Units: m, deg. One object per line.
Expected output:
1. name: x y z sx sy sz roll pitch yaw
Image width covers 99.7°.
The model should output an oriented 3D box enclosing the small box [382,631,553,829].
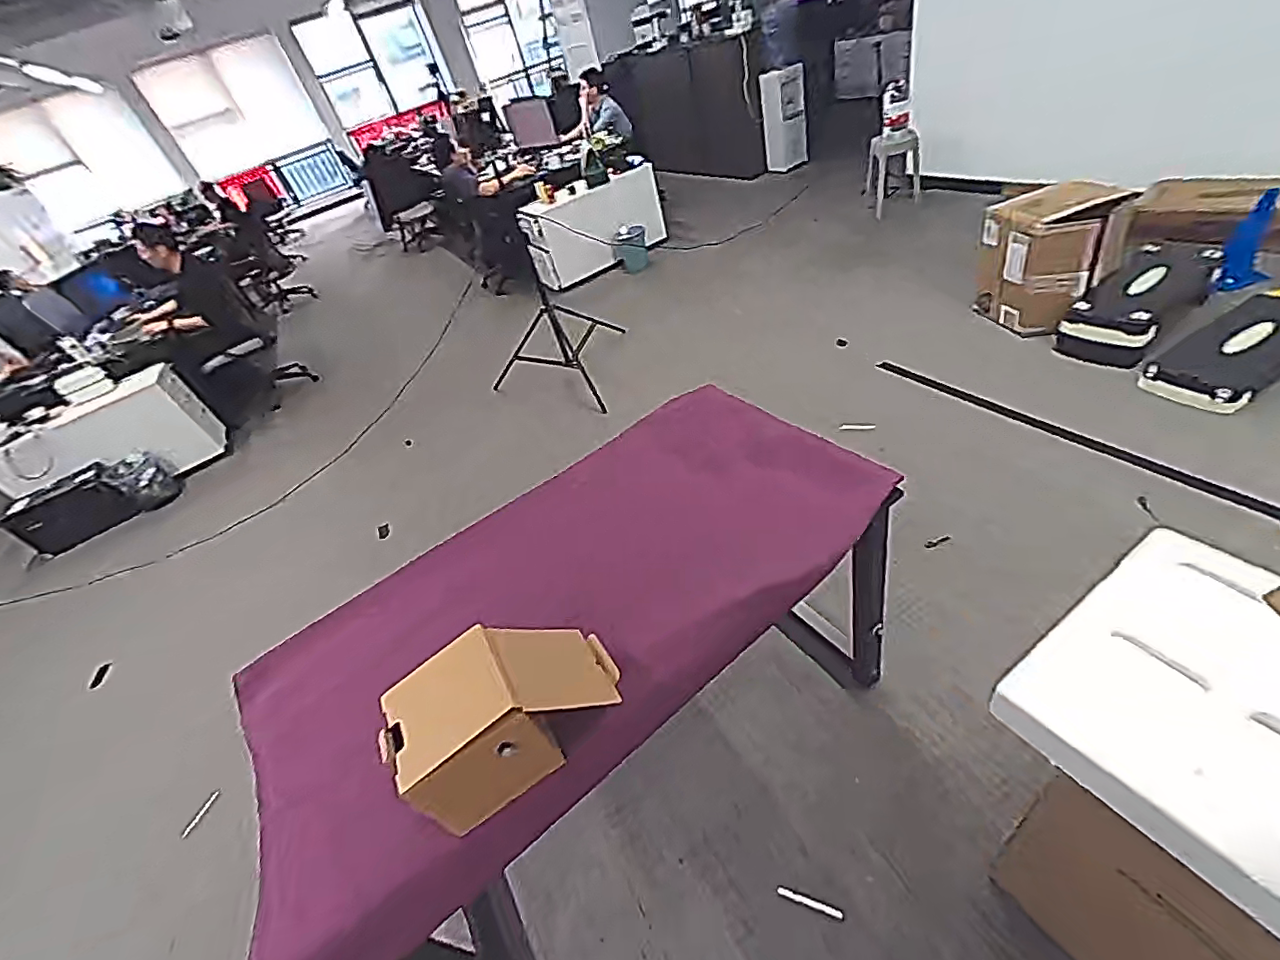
1. small box: -0.246 0.368 0.801 0.179 0.176 0.168 -31 41 -14
